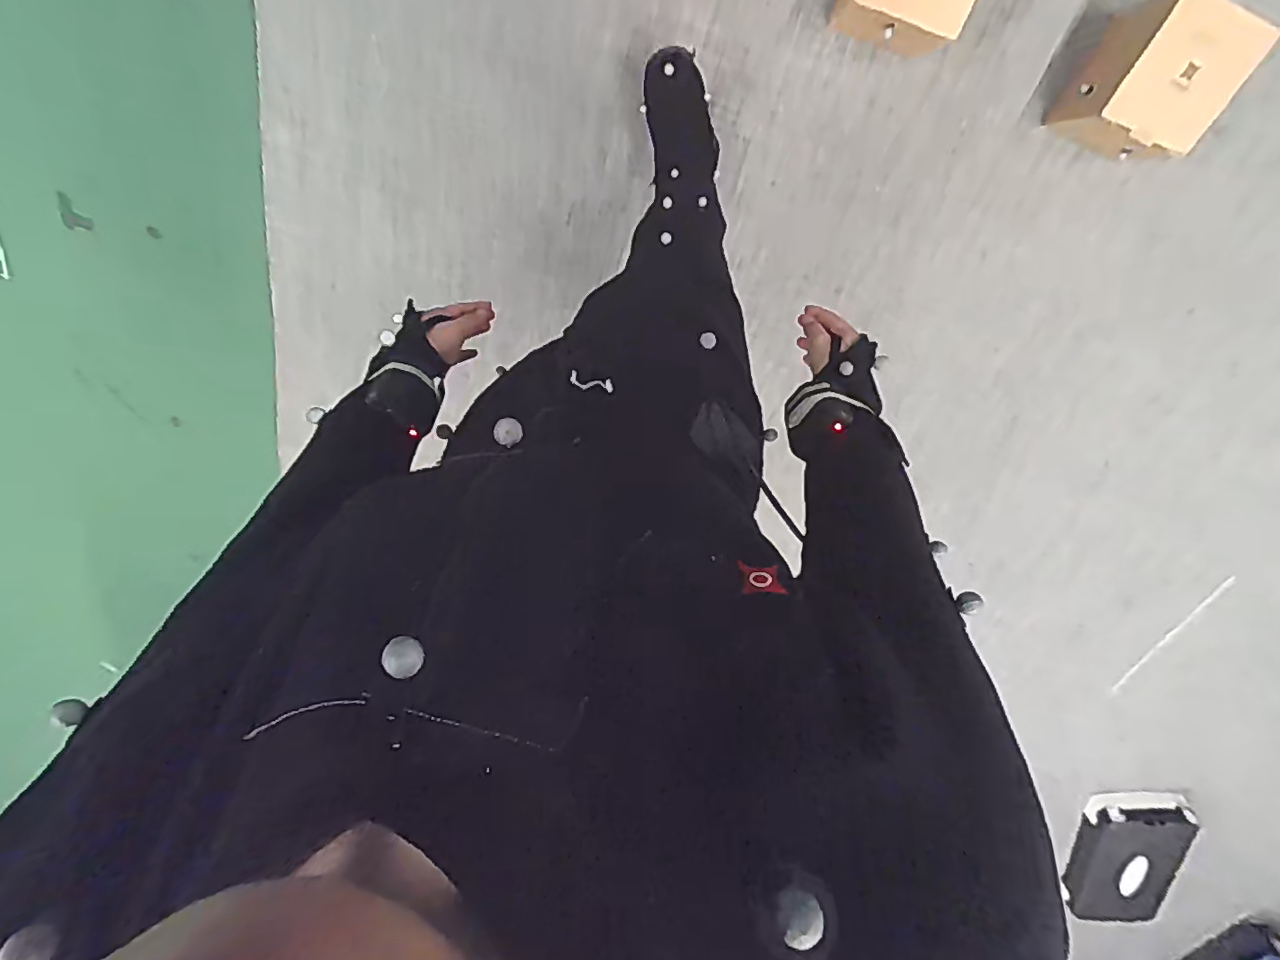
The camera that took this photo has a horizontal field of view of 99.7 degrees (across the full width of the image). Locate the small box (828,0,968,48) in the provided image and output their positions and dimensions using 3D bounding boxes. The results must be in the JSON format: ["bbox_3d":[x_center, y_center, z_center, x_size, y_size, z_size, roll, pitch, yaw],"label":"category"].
[{"bbox_3d":[0.422,-0.808,0.842,0.179,0.176,0.168,17,119,-4],"label":"small box"}]

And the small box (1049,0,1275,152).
[{"bbox_3d":[0.826,-0.663,0.886,0.168,0.176,0.179,20,118,-7],"label":"small box"}]
